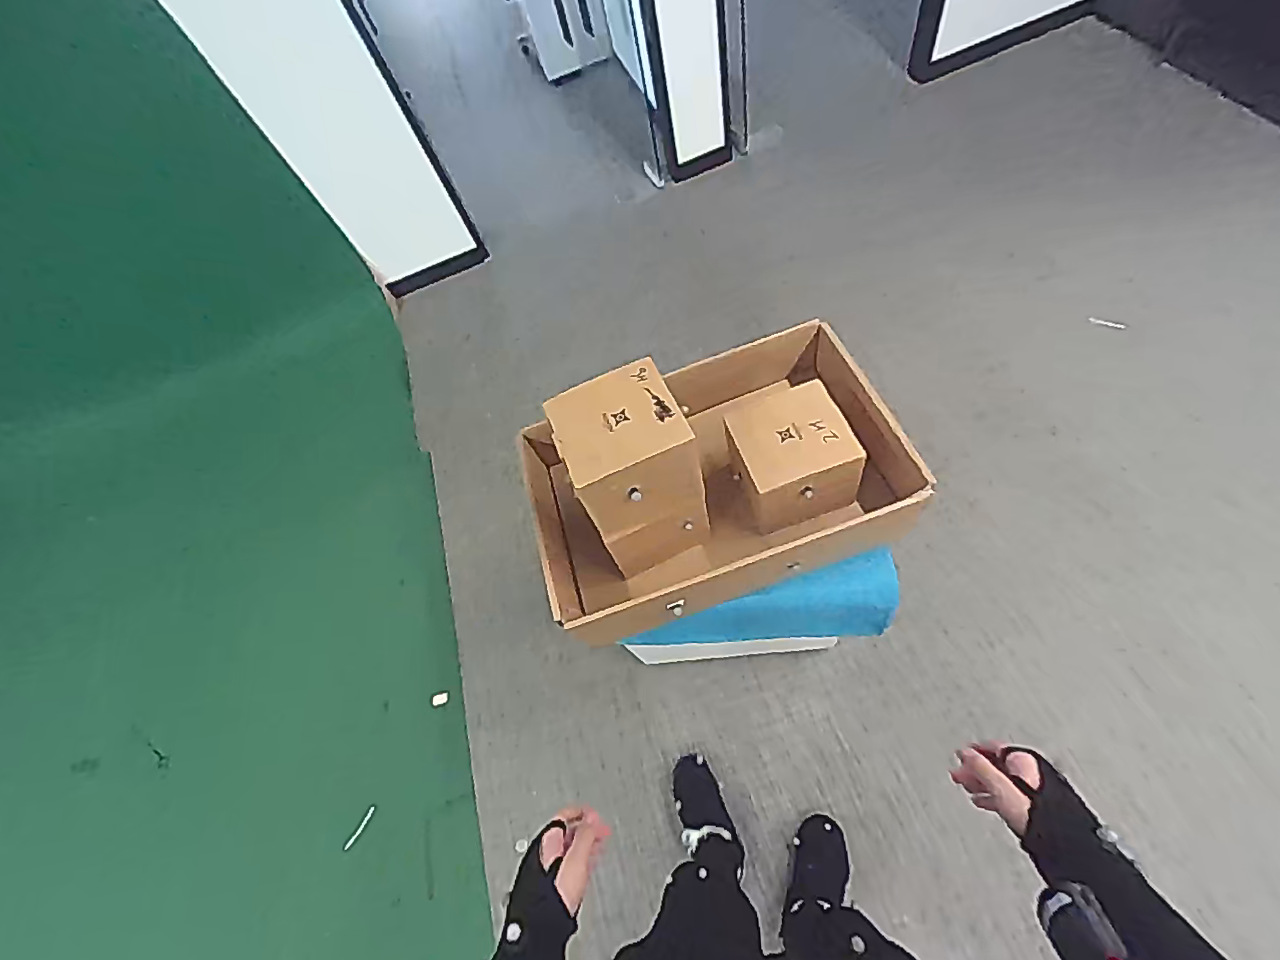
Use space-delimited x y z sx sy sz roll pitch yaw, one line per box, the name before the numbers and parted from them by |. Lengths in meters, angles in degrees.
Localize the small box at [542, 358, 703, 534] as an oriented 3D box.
small box | -0.020 -0.043 0.812 0.179 0.176 0.168 -24 59 -1
